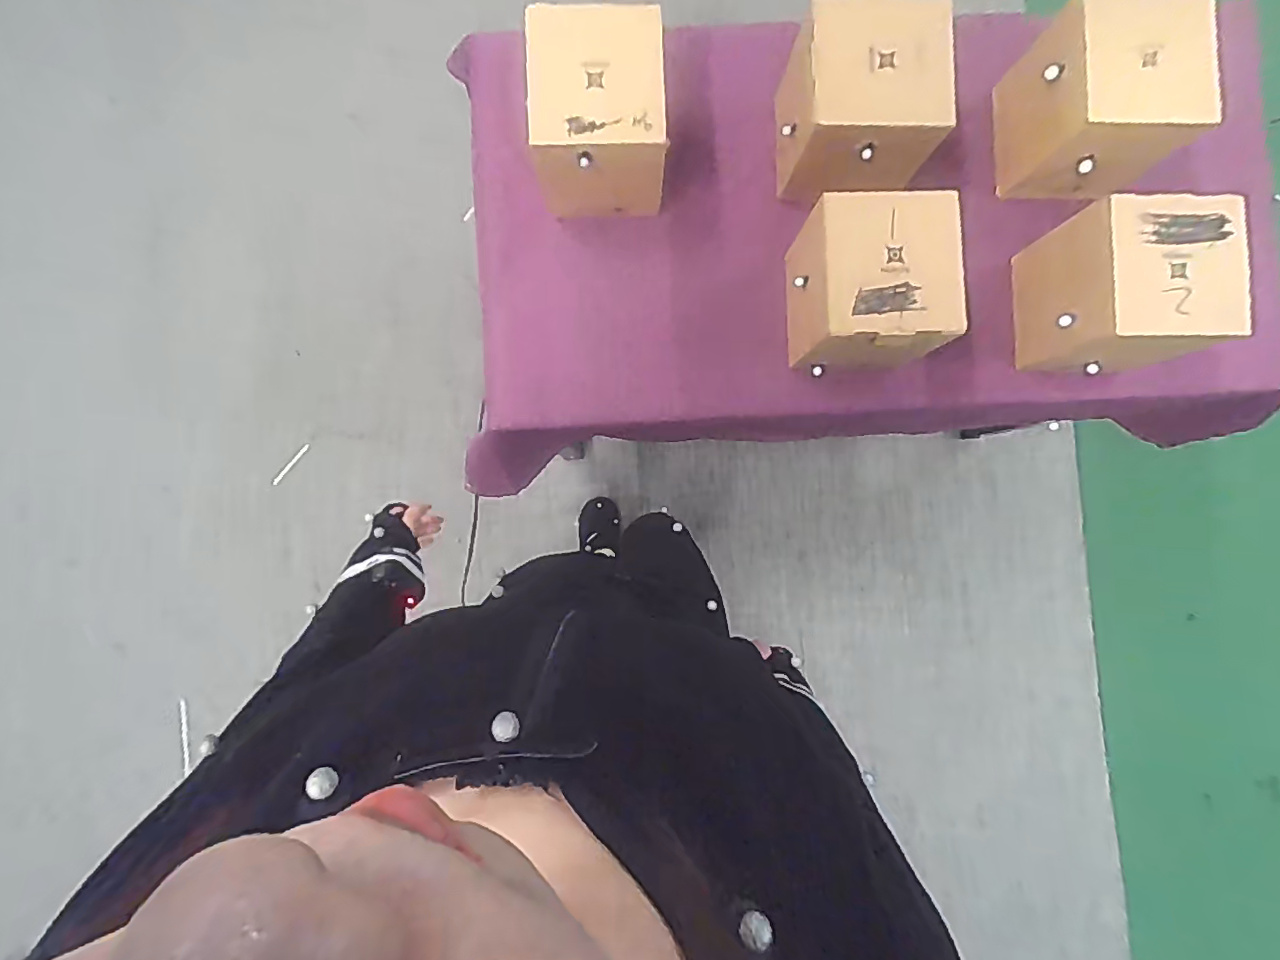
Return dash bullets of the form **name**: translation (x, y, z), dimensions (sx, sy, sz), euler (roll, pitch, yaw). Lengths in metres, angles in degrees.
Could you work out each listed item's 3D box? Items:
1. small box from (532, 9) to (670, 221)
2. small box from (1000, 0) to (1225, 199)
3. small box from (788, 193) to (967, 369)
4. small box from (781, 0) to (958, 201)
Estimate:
- **small box**: translation (-0.050, -0.477, 0.727), dimensions (0.168, 0.176, 0.179), euler (-2, 87, -1)
- **small box**: translation (0.623, -0.508, 0.734), dimensions (0.168, 0.176, 0.179), euler (0, 86, 0)
- **small box**: translation (0.301, -0.250, 0.718), dimensions (0.168, 0.176, 0.179), euler (-1, 86, -1)
- **small box**: translation (0.295, -0.499, 0.732), dimensions (0.179, 0.176, 0.168), euler (0, 88, -1)
